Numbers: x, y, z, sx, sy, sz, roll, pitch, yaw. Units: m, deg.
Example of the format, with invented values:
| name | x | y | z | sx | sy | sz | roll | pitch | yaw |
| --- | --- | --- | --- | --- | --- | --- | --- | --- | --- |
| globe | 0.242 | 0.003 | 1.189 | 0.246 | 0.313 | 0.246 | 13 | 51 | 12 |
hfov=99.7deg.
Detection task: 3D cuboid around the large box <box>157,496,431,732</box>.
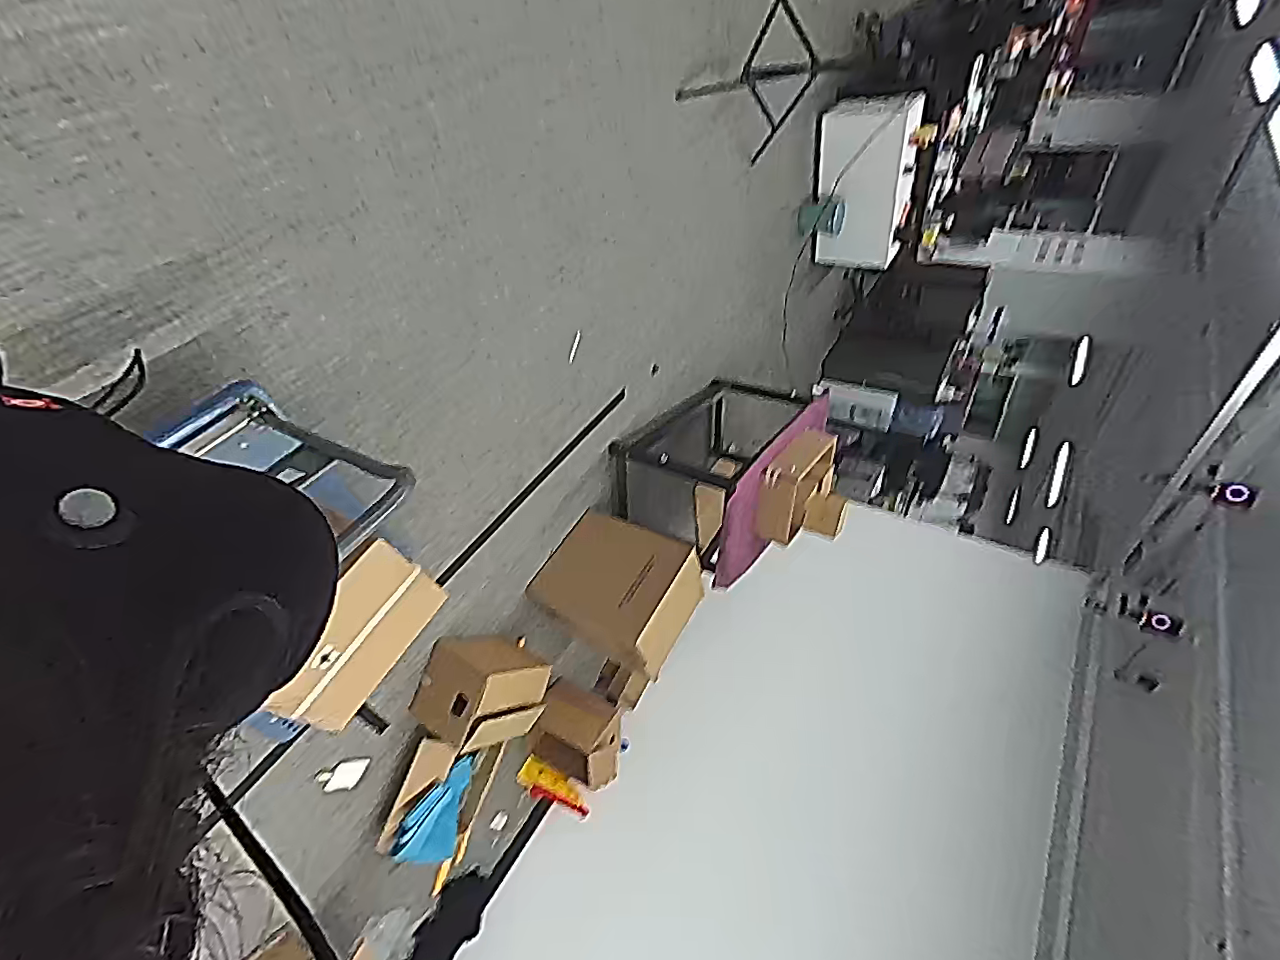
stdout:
| name | x | y | z | sx | sy | sz | roll | pitch | yaw |
| --- | --- | --- | --- | --- | --- | --- | --- | --- | --- |
| large box | -0.812 | 0.315 | 1.316 | 0.408 | 0.320 | 0.320 | -55 | 147 | -25 |
